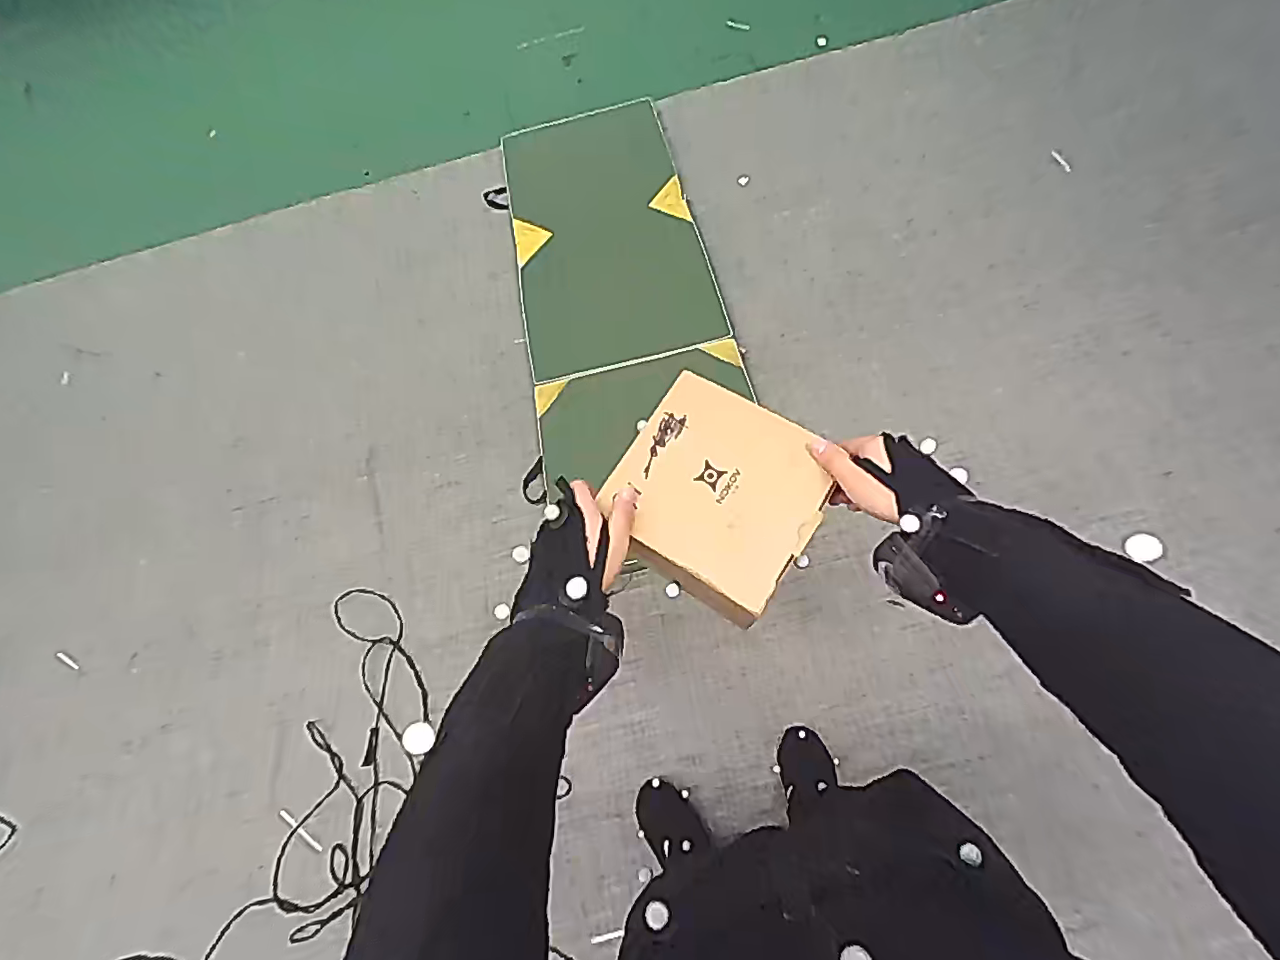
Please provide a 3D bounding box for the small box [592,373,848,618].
[{"bbox_3d":[0.080,0.028,0.560,0.179,0.176,0.168,31,76,17],"label":"small box"}]
